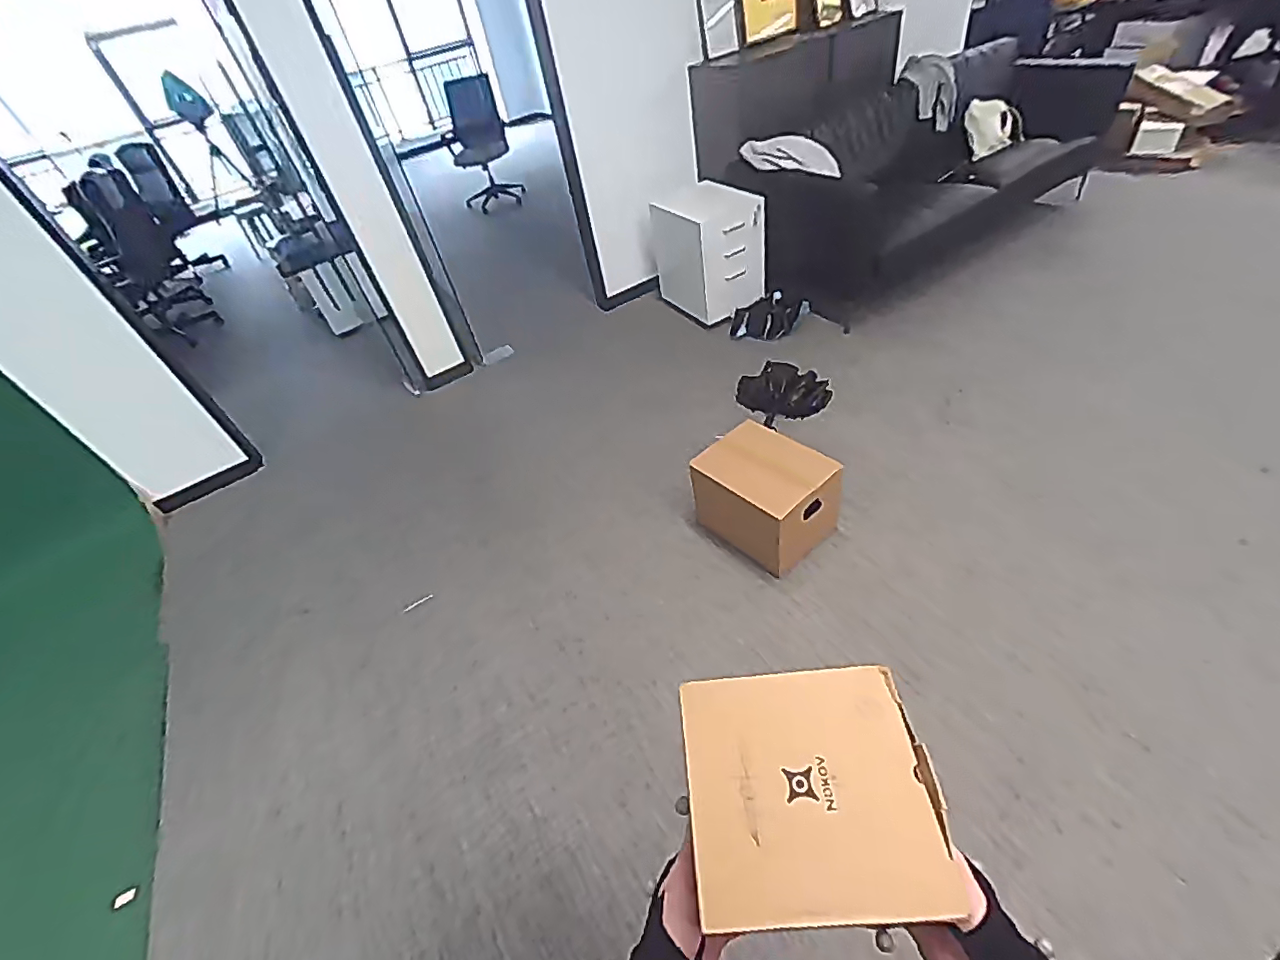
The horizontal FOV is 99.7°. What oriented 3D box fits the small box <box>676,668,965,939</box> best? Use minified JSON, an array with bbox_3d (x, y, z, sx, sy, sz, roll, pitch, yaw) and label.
[{"bbox_3d":[0.130,0.278,0.461,0.179,0.176,0.168,-8,50,4],"label":"small box"}]
